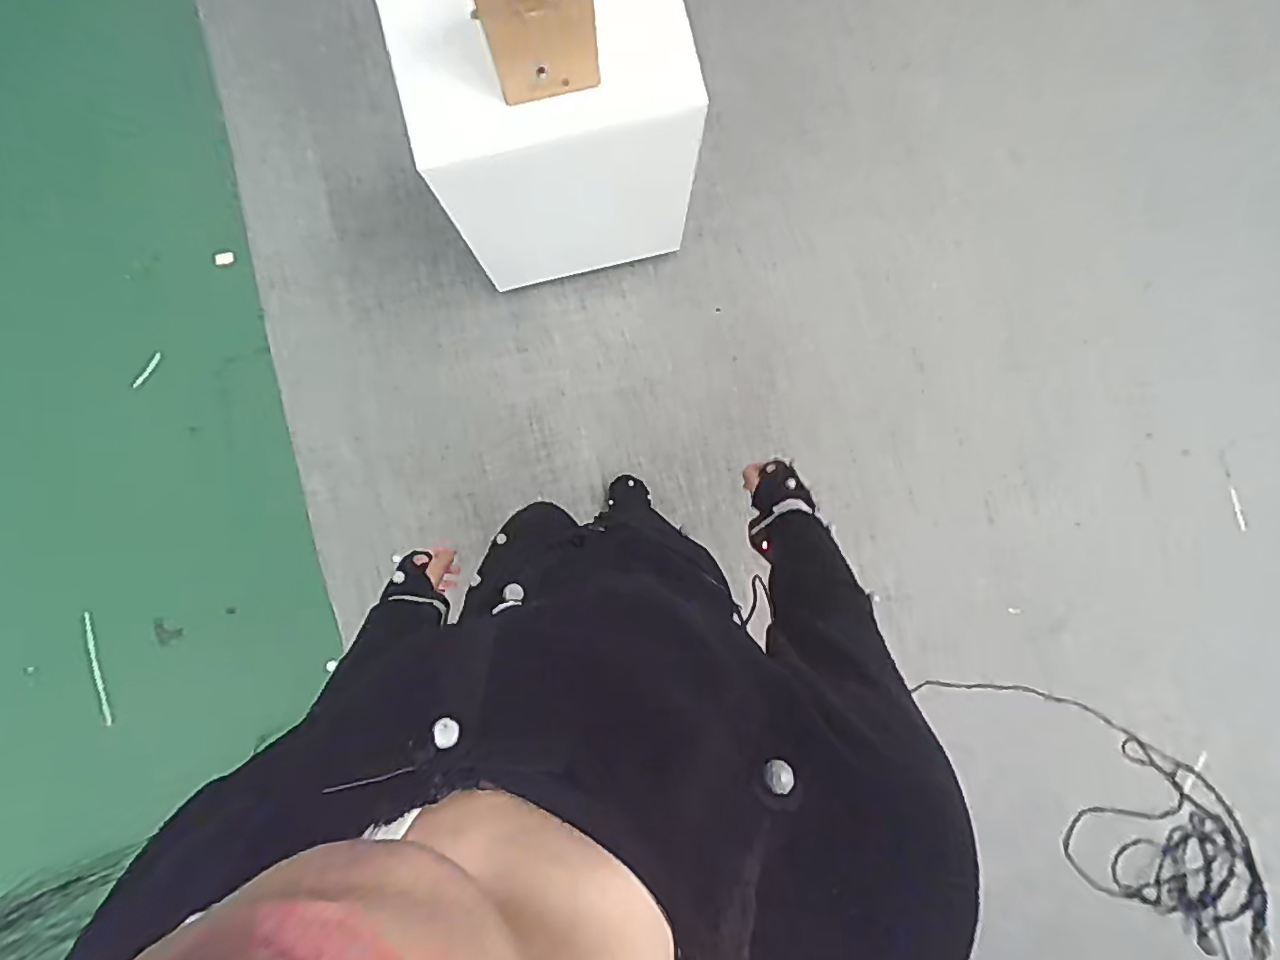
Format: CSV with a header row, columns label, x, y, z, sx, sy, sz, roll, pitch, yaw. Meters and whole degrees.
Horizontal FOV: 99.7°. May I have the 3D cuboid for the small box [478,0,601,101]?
label,x,y,z,sx,sy,sz,roll,pitch,yaw
small box,-0.159,-0.733,0.826,0.168,0.176,0.179,-13,88,-1
